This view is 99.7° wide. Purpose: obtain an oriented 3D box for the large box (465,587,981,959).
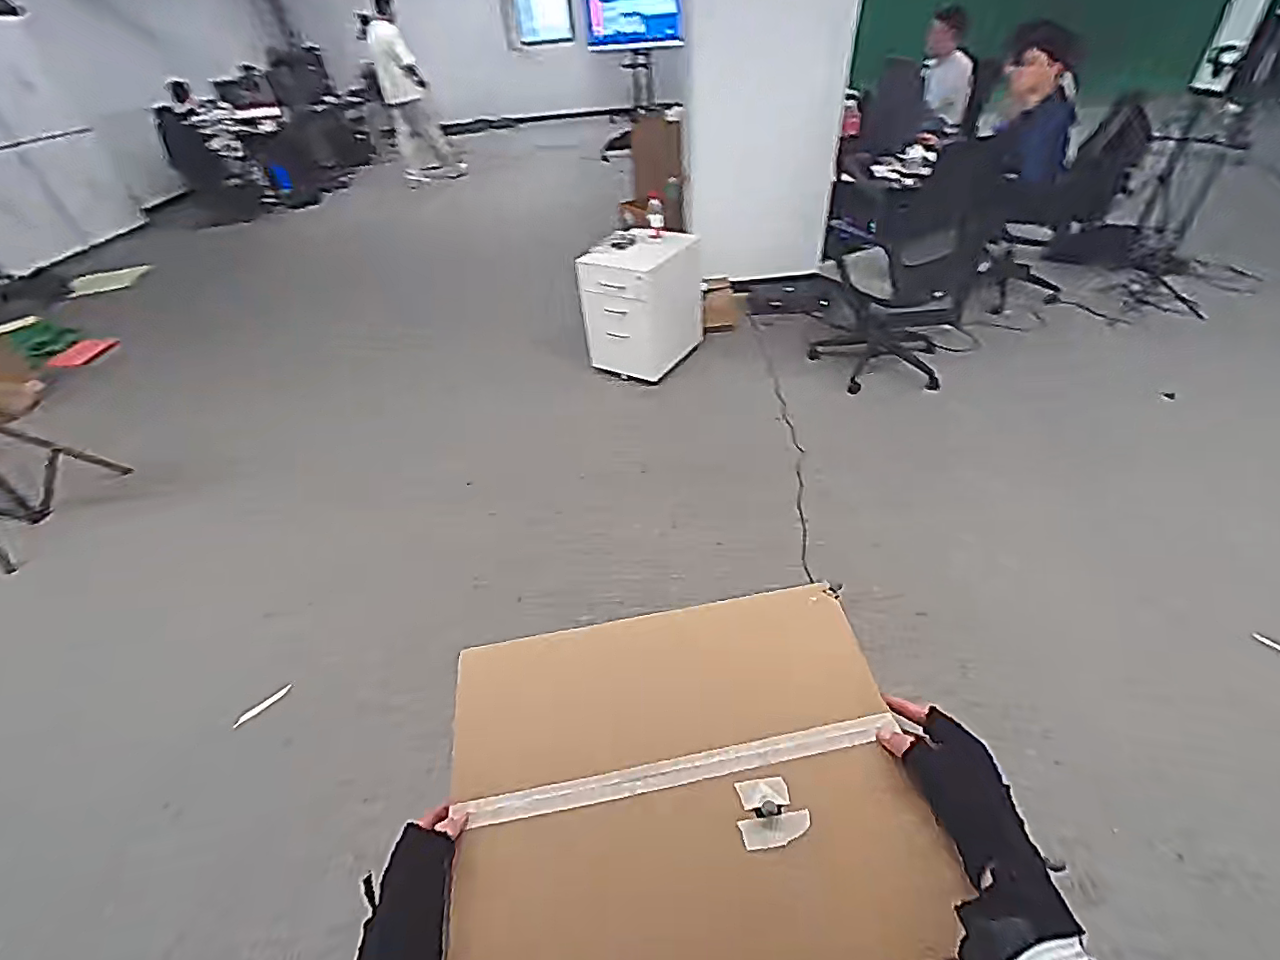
[{"bbox_3d":[0.050,0.362,0.604,0.408,0.320,0.320,-9,48,-4],"label":"large box"}]
